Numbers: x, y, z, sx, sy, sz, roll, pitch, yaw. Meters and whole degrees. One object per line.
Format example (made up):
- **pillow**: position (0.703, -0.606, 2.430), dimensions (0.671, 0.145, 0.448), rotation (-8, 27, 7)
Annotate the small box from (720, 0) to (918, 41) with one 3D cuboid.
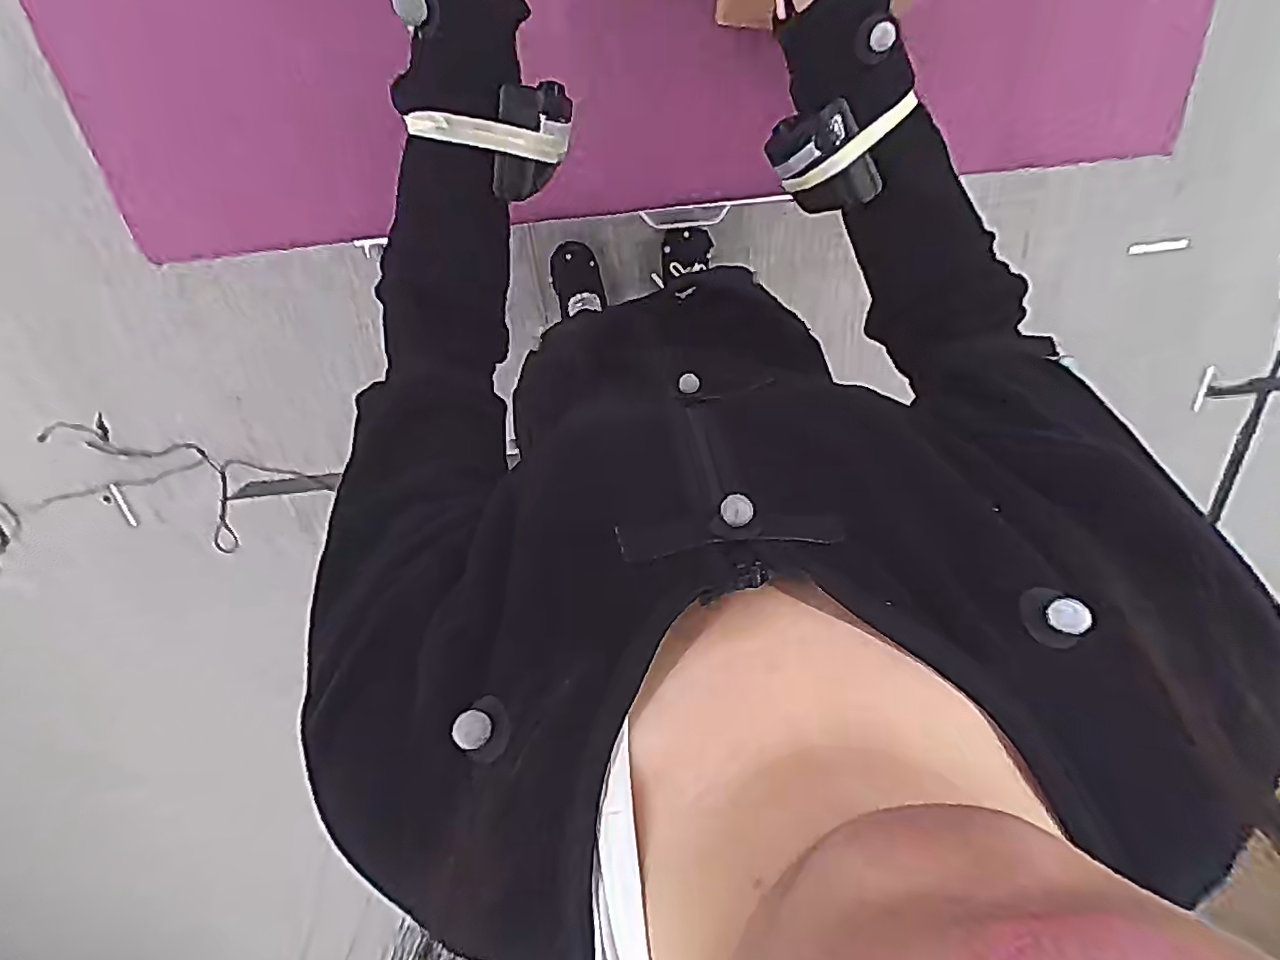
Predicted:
- **small box**: position (0.170, -0.517, 0.462), dimensions (0.168, 0.176, 0.179), rotation (2, 115, -5)
